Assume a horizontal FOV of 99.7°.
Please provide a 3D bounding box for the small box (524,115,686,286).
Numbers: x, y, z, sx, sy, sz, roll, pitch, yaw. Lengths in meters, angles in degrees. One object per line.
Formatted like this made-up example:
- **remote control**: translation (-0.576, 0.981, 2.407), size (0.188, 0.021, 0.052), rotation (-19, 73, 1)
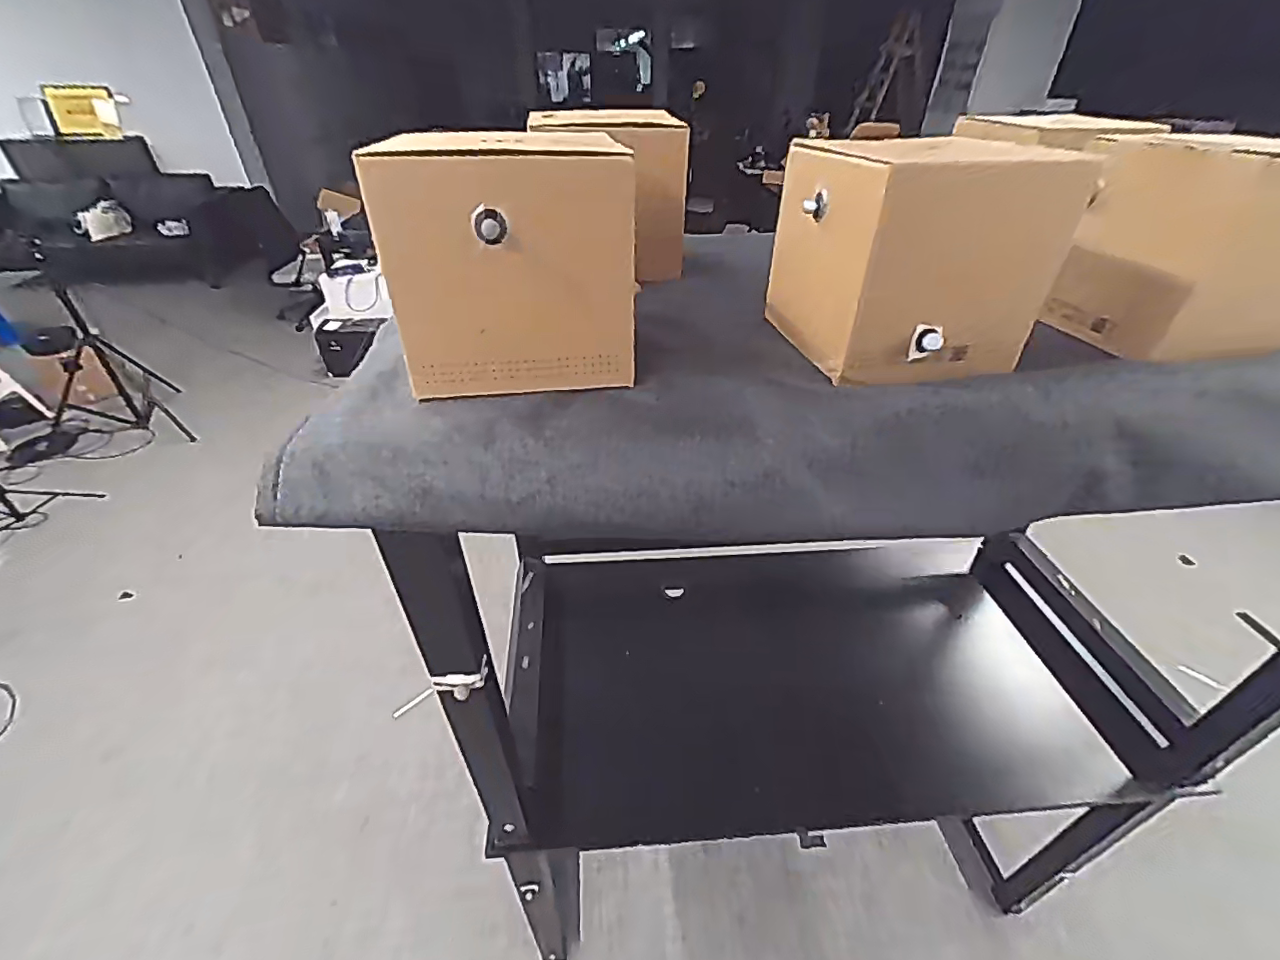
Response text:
- **small box**: translation (-0.048, -0.352, 0.684), size (0.179, 0.176, 0.168), rotation (-3, 37, -7)

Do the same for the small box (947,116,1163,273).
- **small box**: translation (0.526, -0.389, 0.740), size (0.168, 0.176, 0.179), rotation (-4, 37, -5)

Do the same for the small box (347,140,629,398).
- **small box**: translation (-0.105, -0.176, 0.447), size (0.179, 0.176, 0.168), rotation (-5, 36, -8)

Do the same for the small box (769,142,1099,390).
- **small box**: translation (0.225, -0.193, 0.476), size (0.168, 0.176, 0.179), rotation (-6, 36, -7)
